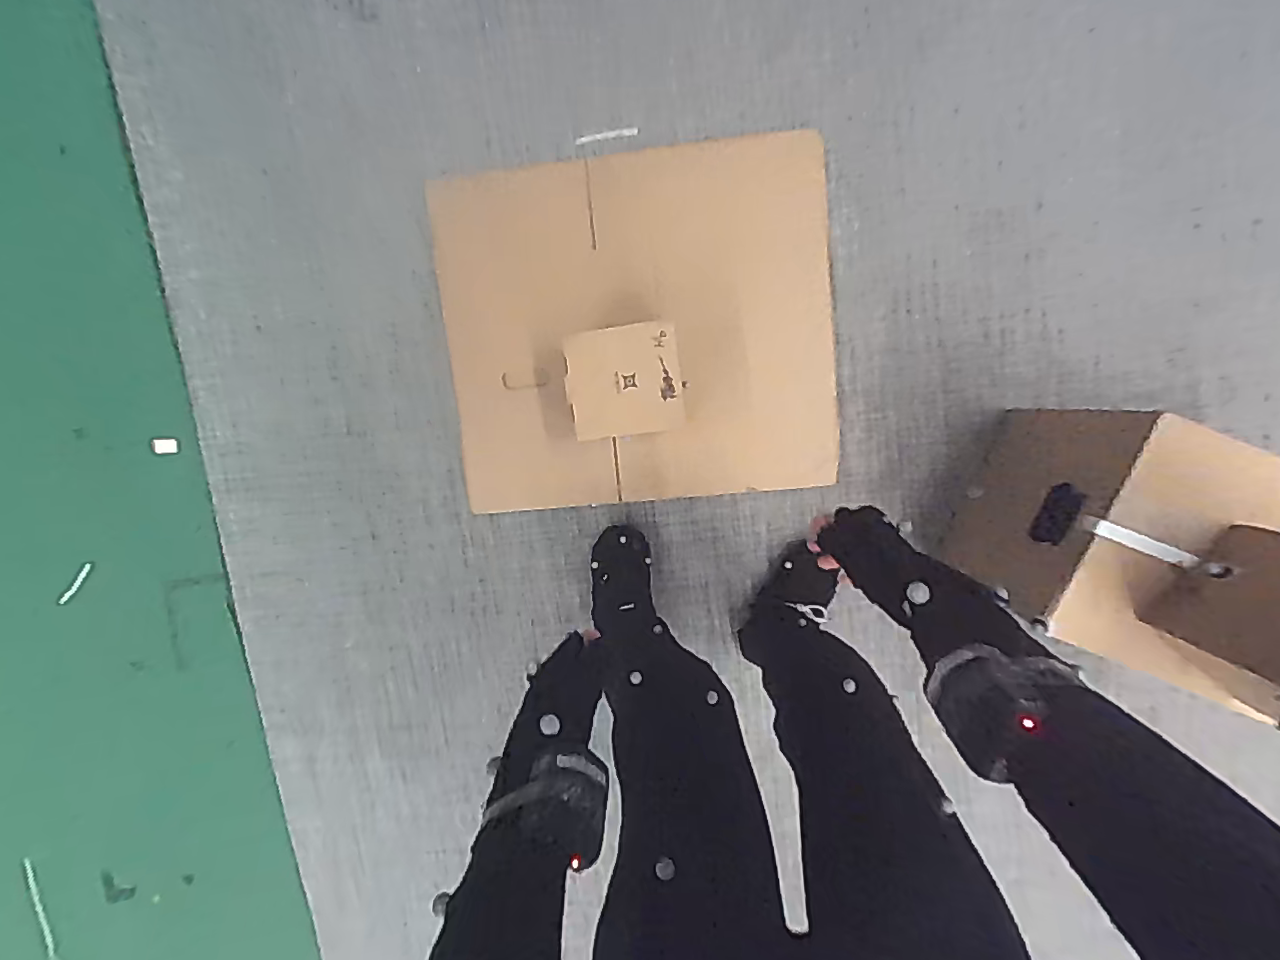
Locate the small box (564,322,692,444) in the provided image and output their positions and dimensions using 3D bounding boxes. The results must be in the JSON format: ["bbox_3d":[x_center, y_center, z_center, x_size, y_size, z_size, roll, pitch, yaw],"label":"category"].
[{"bbox_3d":[-0.012,-0.154,0.911,0.179,0.176,0.168,-10,95,7],"label":"small box"}]

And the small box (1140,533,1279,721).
[{"bbox_3d":[0.741,0.179,0.600,0.179,0.176,0.168,37,98,0],"label":"small box"}]
